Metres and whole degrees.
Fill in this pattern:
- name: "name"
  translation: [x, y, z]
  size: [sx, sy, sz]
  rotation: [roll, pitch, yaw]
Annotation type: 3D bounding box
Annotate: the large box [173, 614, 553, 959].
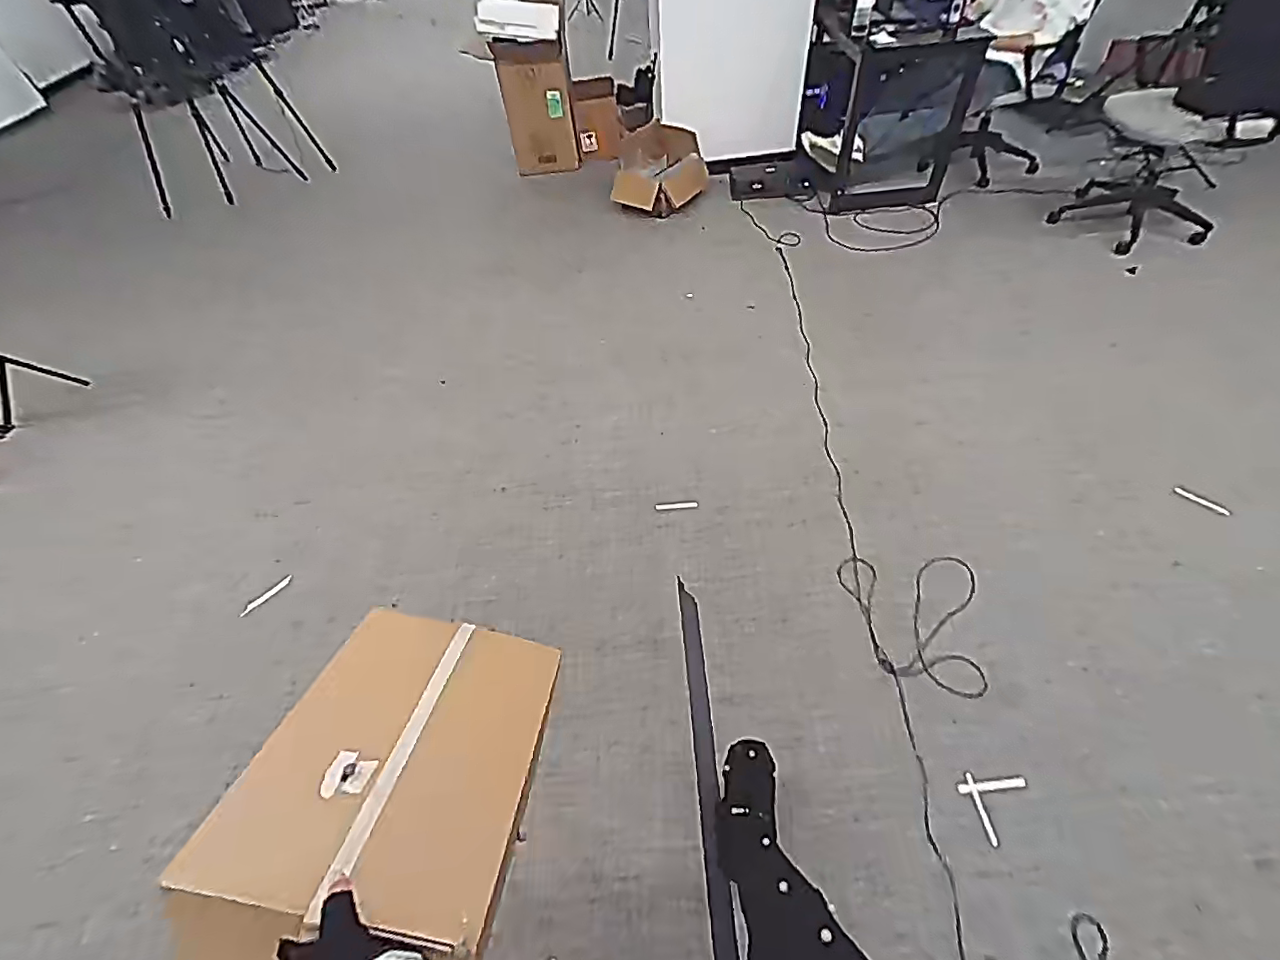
- name: "large box"
  translation: [-0.336, 0.470, 0.778]
  size: [0.320, 0.320, 0.408]
  rotation: [13, 28, -2]
